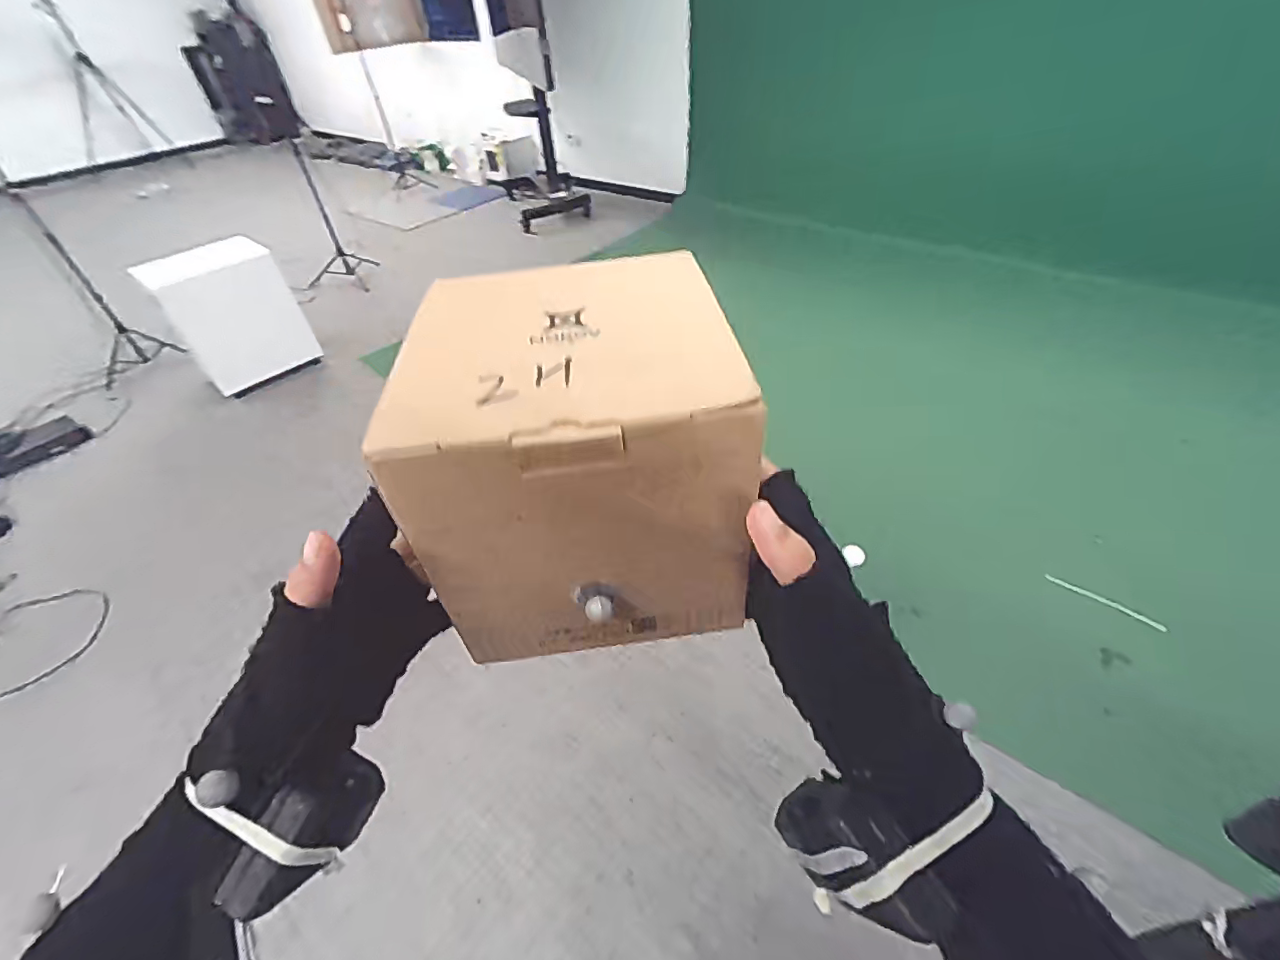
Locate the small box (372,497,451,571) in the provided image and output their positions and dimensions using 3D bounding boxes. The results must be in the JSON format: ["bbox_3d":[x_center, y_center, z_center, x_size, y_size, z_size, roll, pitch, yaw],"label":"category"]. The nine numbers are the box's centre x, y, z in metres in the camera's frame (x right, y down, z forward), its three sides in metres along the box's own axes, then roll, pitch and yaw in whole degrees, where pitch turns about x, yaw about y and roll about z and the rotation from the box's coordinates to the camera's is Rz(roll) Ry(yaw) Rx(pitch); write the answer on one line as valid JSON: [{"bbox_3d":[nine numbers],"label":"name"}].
[{"bbox_3d":[-0.800,0.196,1.908,0.179,0.176,0.168,27,51,30],"label":"small box"}]

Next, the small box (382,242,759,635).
[{"bbox_3d":[-0.032,-0.029,0.344,0.168,0.176,0.179,-9,43,-2],"label":"small box"}]
